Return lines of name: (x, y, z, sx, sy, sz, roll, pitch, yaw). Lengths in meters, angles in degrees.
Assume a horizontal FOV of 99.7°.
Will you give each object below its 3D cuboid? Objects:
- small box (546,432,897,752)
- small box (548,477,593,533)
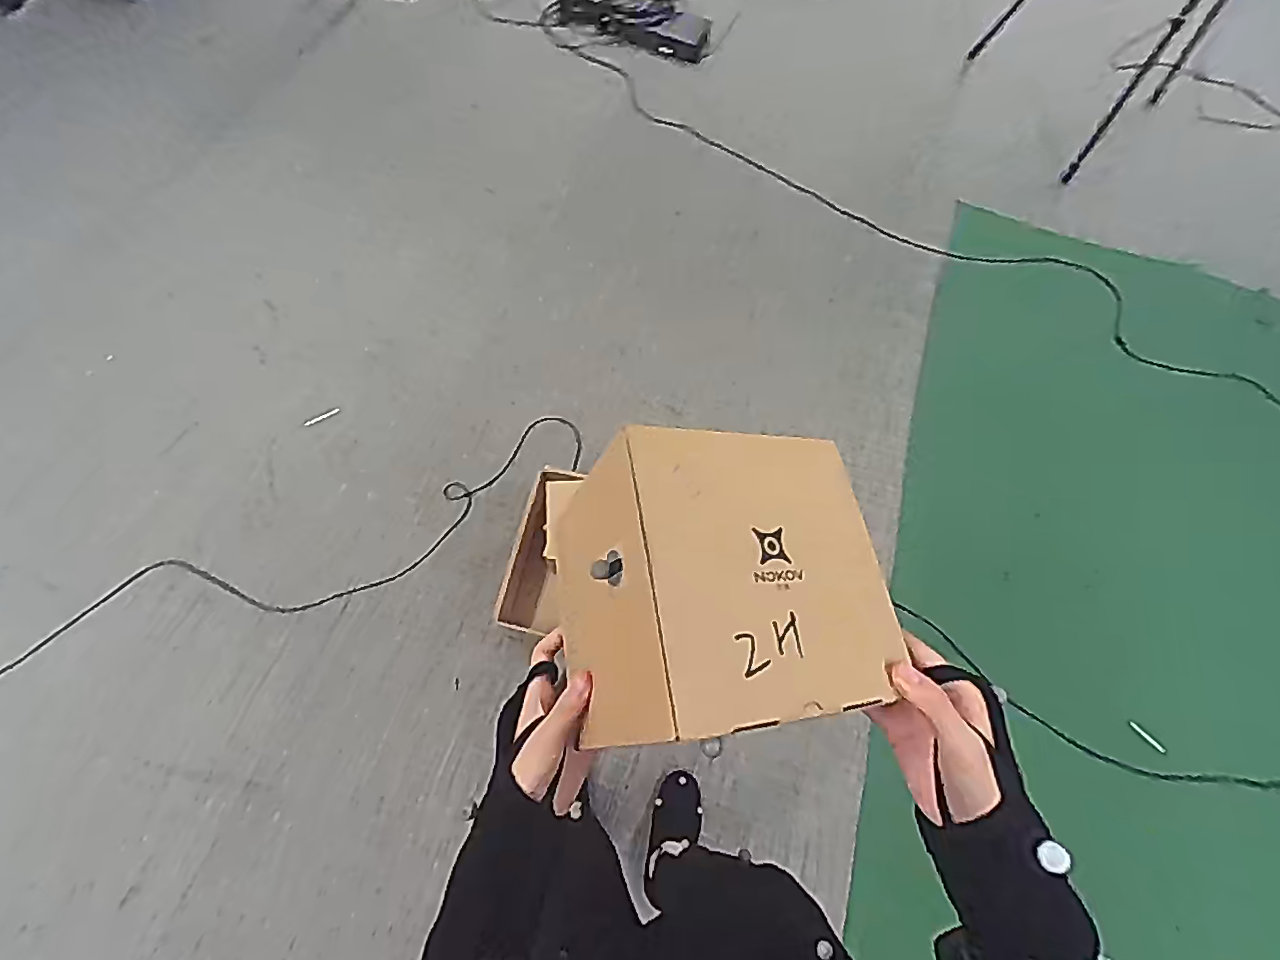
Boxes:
small box: (0.036, 0.085, 0.388, 0.168, 0.176, 0.179, 1, 65, -24)
small box: (-0.105, 0.098, 1.174, 0.179, 0.176, 0.168, -2, 70, -5)
